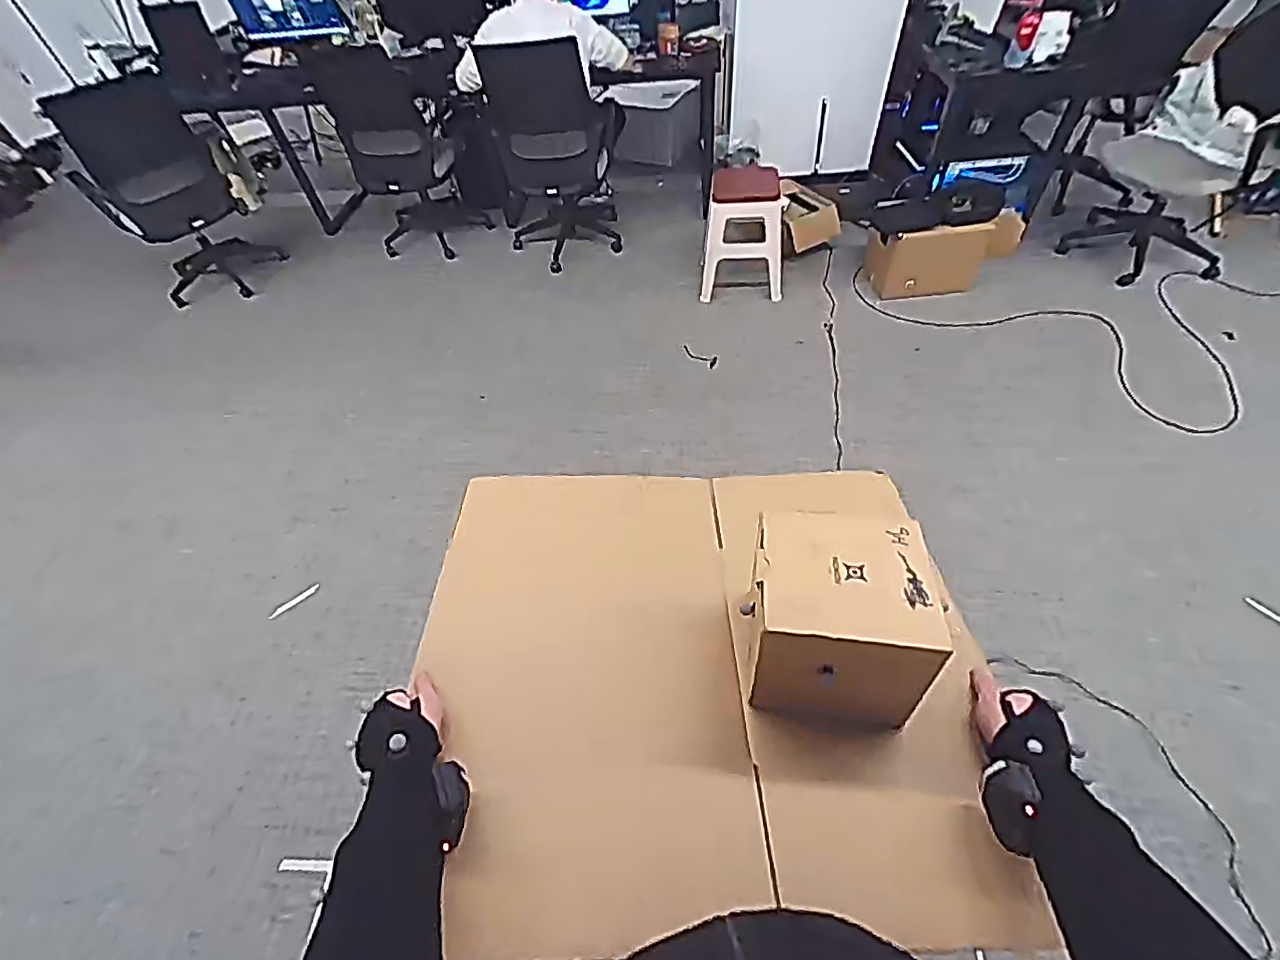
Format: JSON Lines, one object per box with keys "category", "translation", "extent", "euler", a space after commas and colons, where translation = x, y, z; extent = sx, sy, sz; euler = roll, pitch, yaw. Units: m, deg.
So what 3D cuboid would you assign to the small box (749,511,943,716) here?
{"category": "small box", "translation": [0.221, 0.155, 0.631], "extent": [0.179, 0.176, 0.168], "euler": [3, 45, 10]}
